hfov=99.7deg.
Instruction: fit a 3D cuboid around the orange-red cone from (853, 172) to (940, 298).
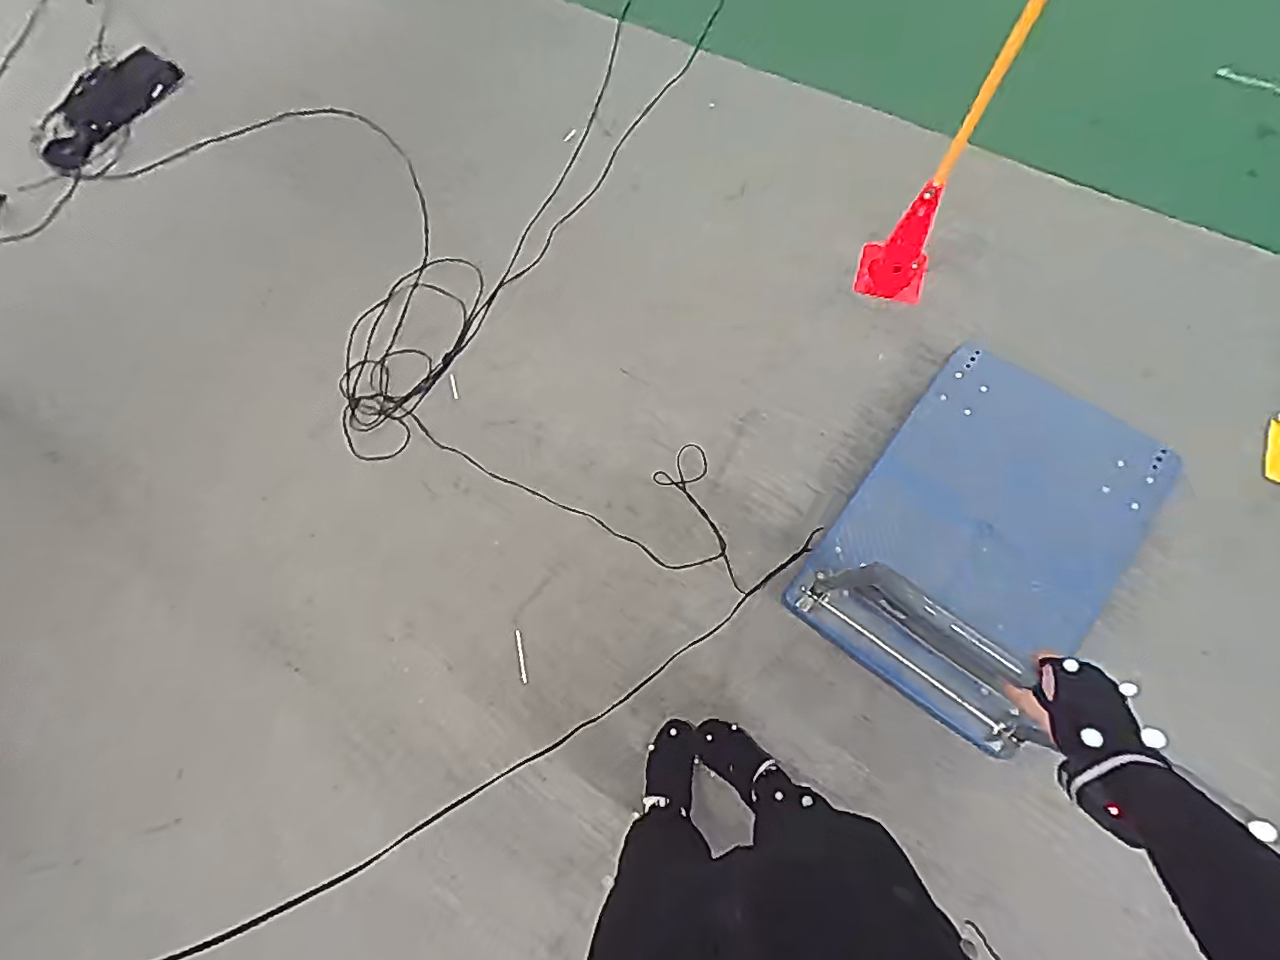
[{"bbox_3d":[0.774,-0.725,1.558,0.199,0.360,0.198,16,75,12],"label":"orange-red cone"}]
